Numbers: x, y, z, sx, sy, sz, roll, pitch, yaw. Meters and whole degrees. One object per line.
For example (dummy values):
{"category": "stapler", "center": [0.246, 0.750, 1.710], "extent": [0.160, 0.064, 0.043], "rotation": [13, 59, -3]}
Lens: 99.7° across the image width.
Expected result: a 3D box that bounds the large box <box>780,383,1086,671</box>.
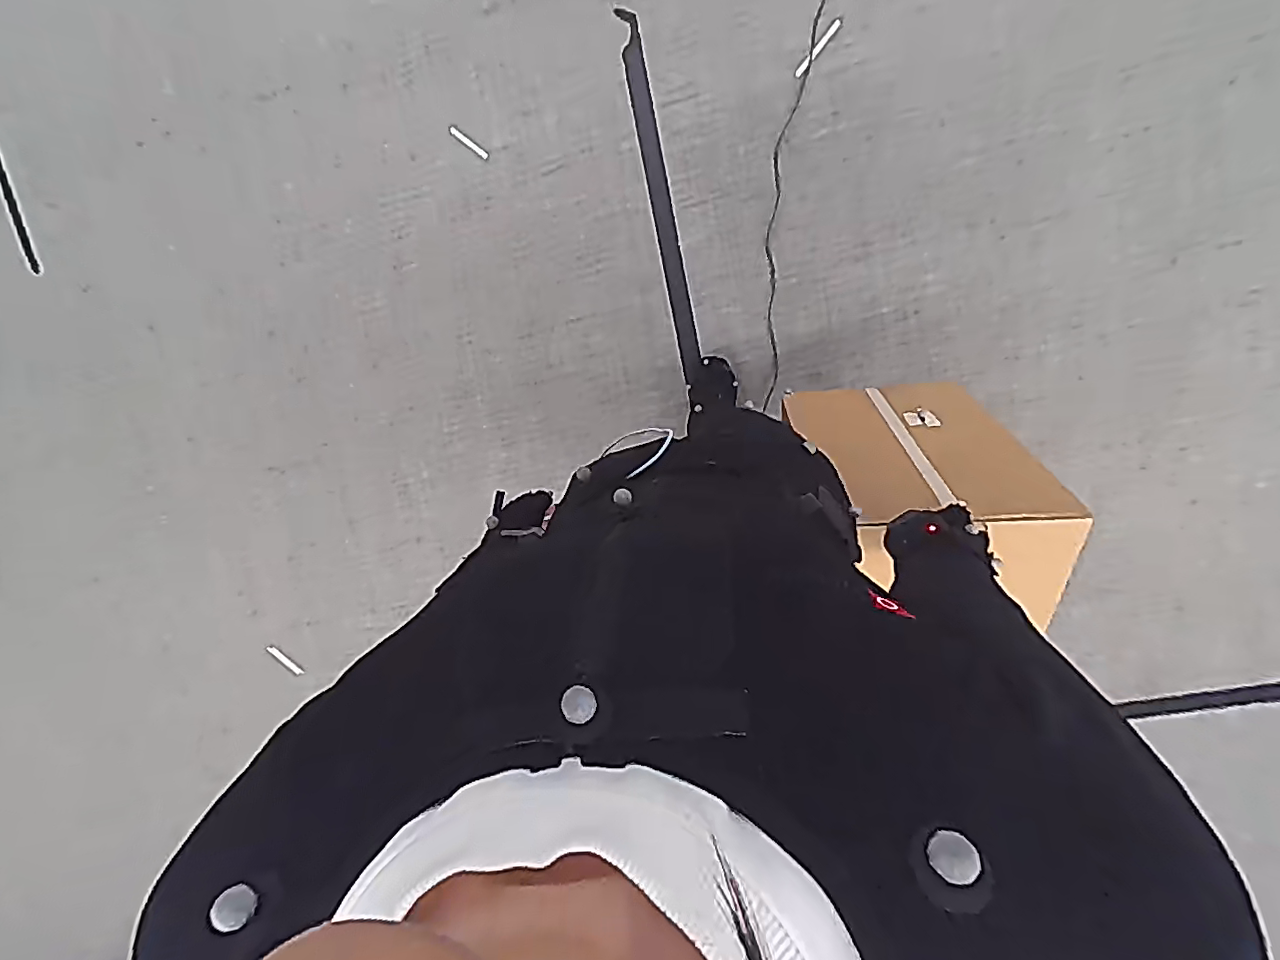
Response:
{"category": "large box", "center": [0.426, 0.063, 0.919], "extent": [0.320, 0.408, 0.320], "rotation": [-2, 122, 6]}
